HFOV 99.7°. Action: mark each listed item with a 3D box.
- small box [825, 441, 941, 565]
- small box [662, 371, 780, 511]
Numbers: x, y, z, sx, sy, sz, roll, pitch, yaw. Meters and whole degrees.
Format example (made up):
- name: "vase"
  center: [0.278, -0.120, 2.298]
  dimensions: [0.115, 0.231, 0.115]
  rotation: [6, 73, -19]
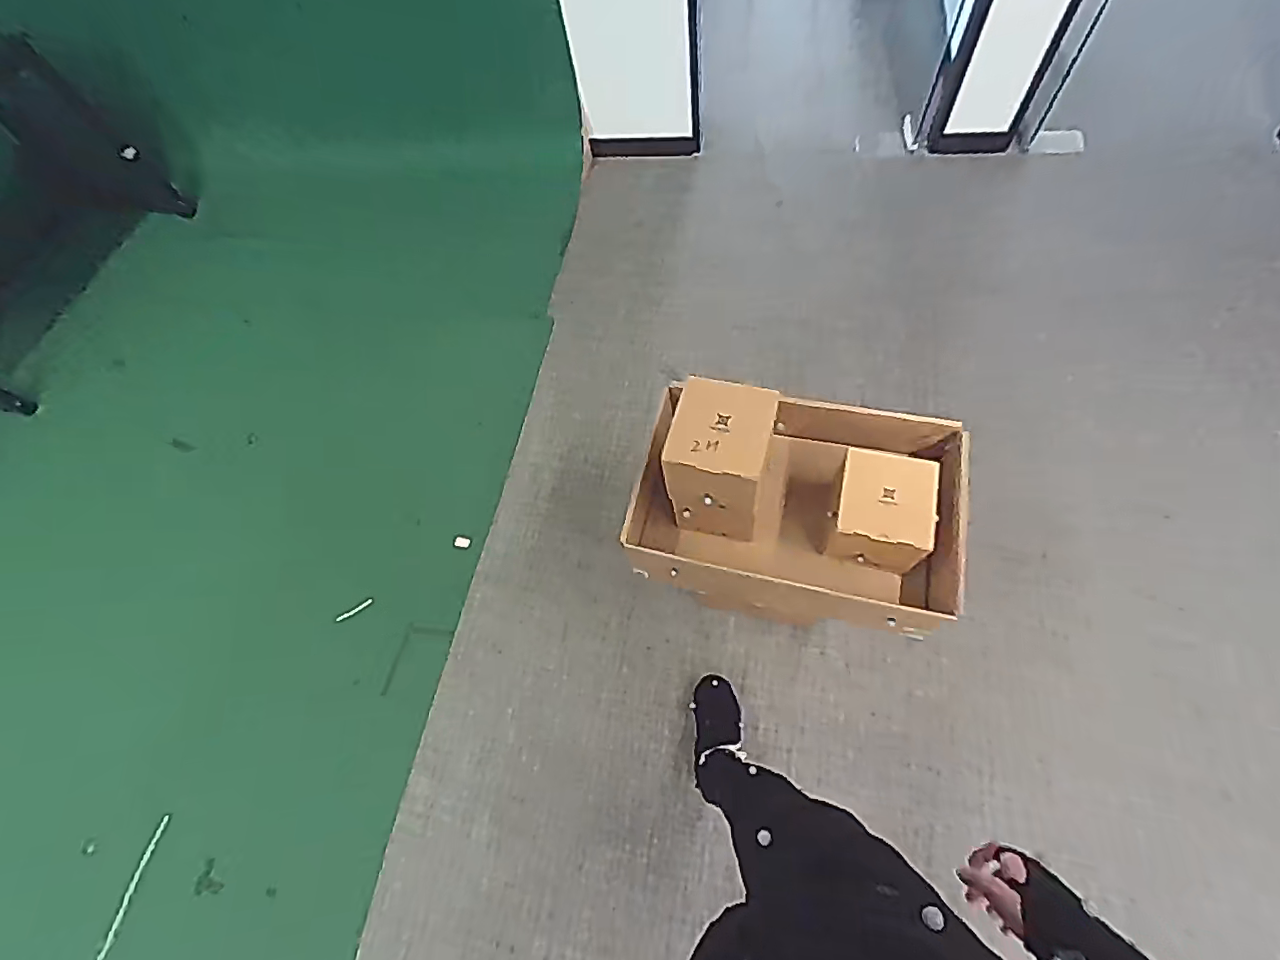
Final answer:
- name: "small box"
  center: [0.467, 0.049, 1.056]
  dimensions: [0.168, 0.176, 0.179]
  rotation: [11, 69, 13]
- name: "small box"
  center: [0.147, -0.066, 0.975]
  dimensions: [0.168, 0.176, 0.179]
  rotation: [12, 68, 15]
